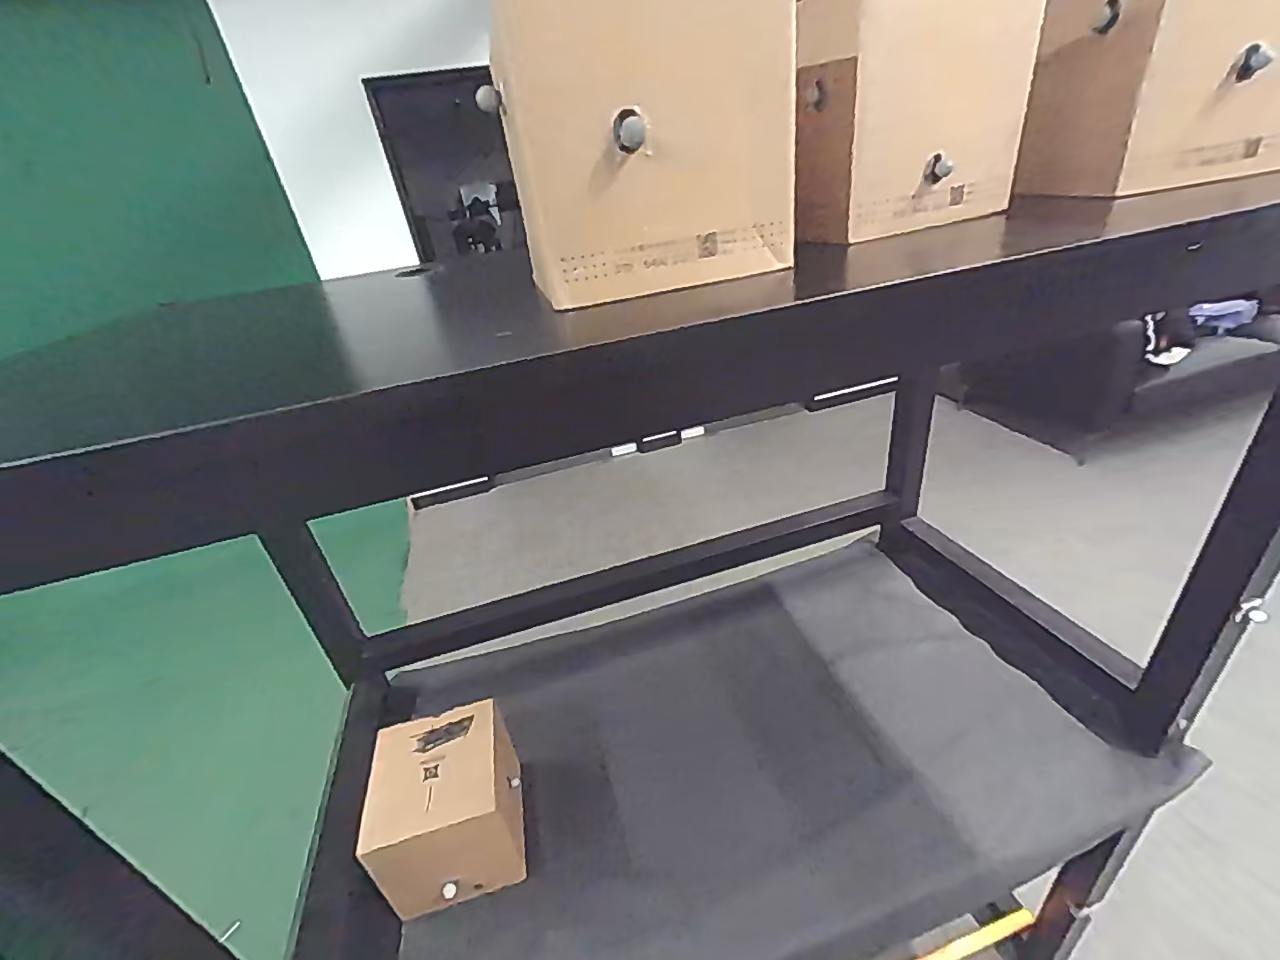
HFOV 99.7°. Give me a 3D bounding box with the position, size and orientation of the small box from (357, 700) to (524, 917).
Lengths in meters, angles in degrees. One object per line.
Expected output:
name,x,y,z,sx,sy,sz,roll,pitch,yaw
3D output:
small box,-0.264,0.451,0.754,0.168,0.176,0.179,-14,30,-9

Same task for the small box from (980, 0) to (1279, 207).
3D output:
small box,0.442,-0.346,0.478,0.168,0.176,0.179,-9,29,0
